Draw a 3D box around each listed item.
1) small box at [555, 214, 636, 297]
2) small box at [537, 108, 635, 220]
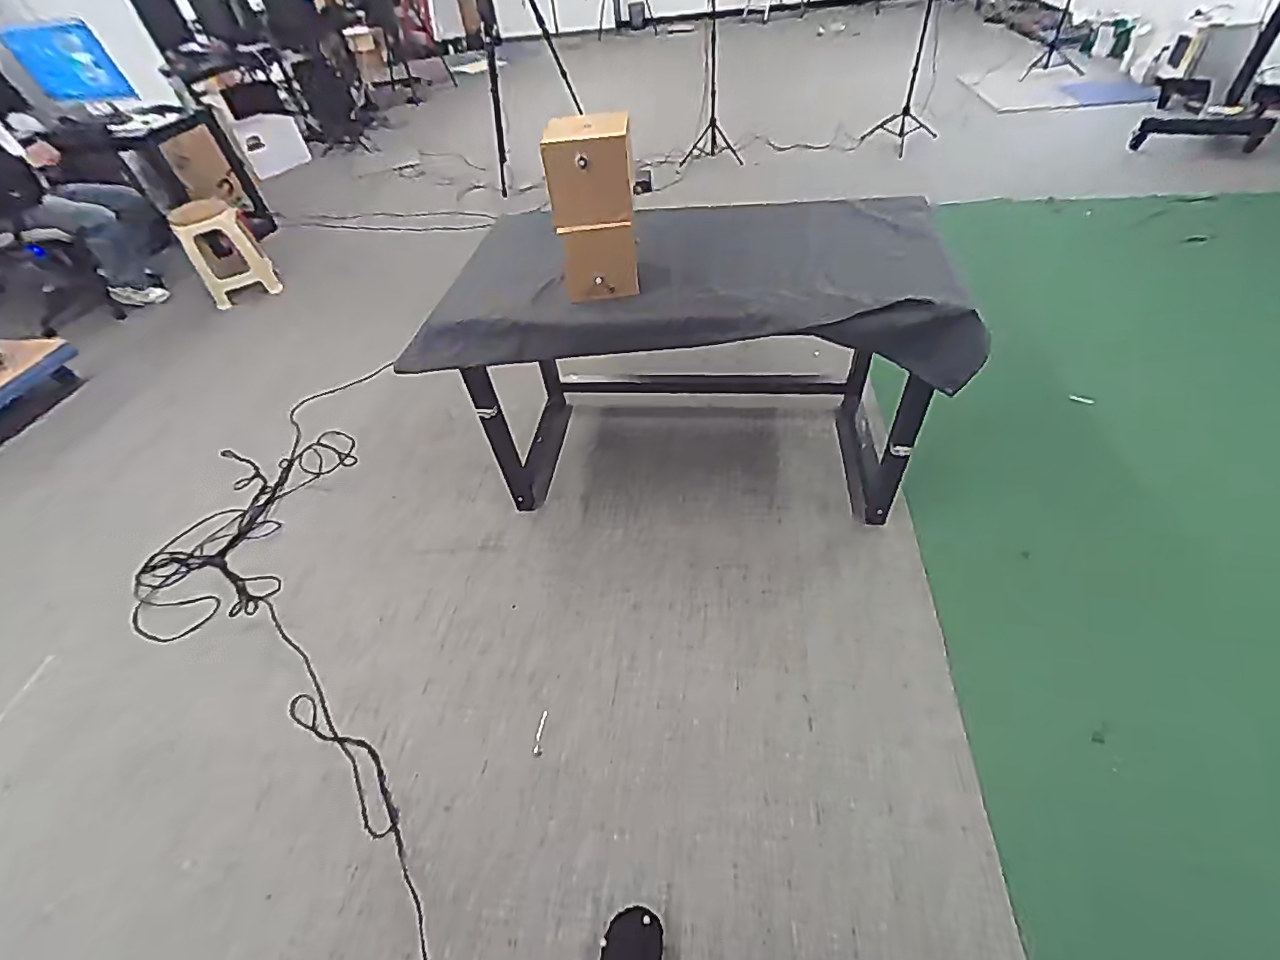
[{"bbox_3d":[-0.099,-0.551,1.268,0.168,0.176,0.179,-6,48,2],"label":"small box"},{"bbox_3d":[-0.108,-0.672,1.159,0.179,0.176,0.168,-2,49,4],"label":"small box"}]
